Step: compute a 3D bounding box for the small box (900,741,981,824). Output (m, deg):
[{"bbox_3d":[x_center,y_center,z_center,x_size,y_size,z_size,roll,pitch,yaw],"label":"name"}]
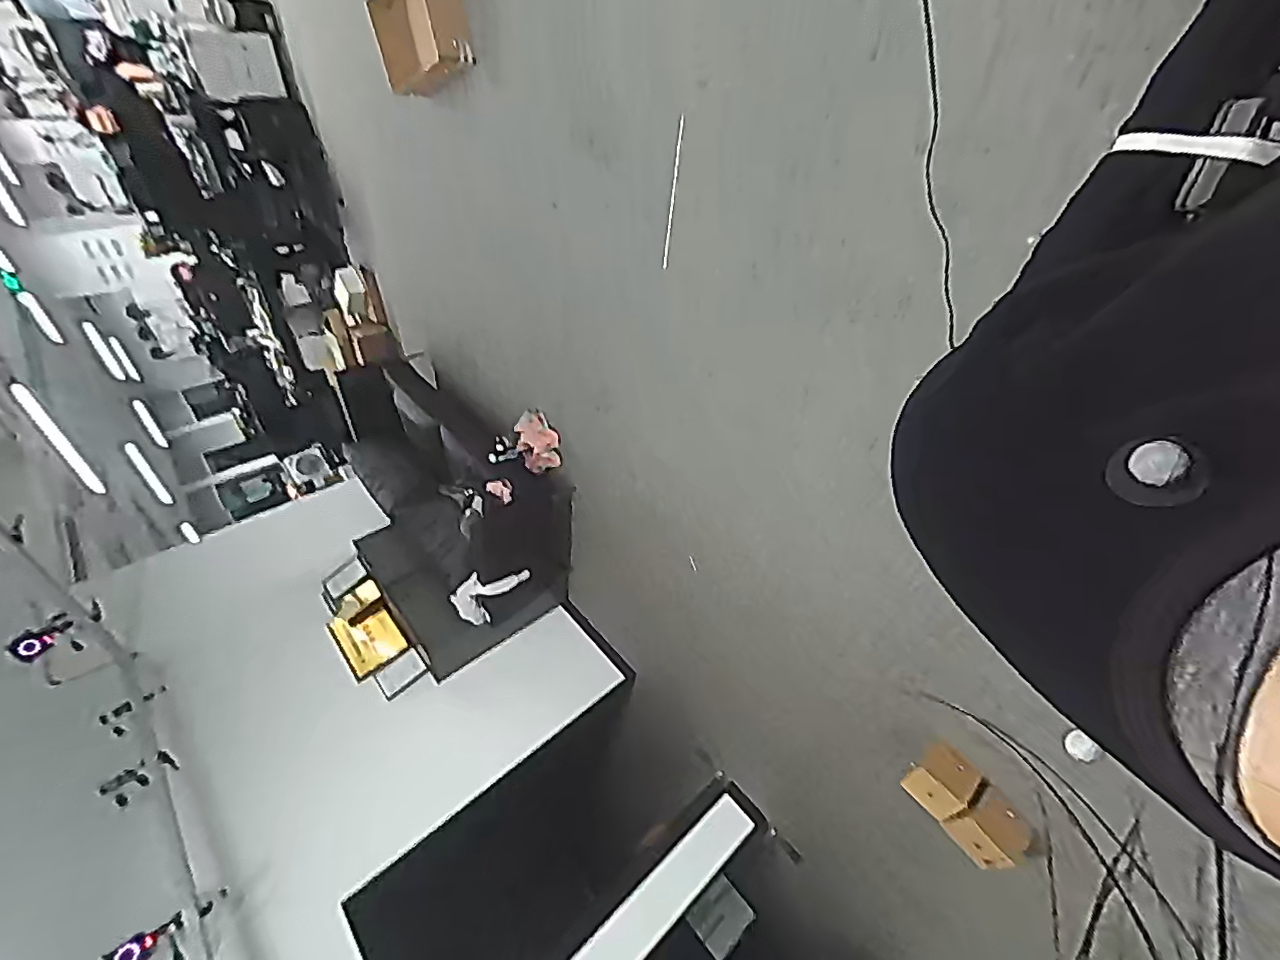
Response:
[{"bbox_3d":[1.085,1.083,1.945,0.168,0.176,0.179,40,140,30],"label":"small box"}]
